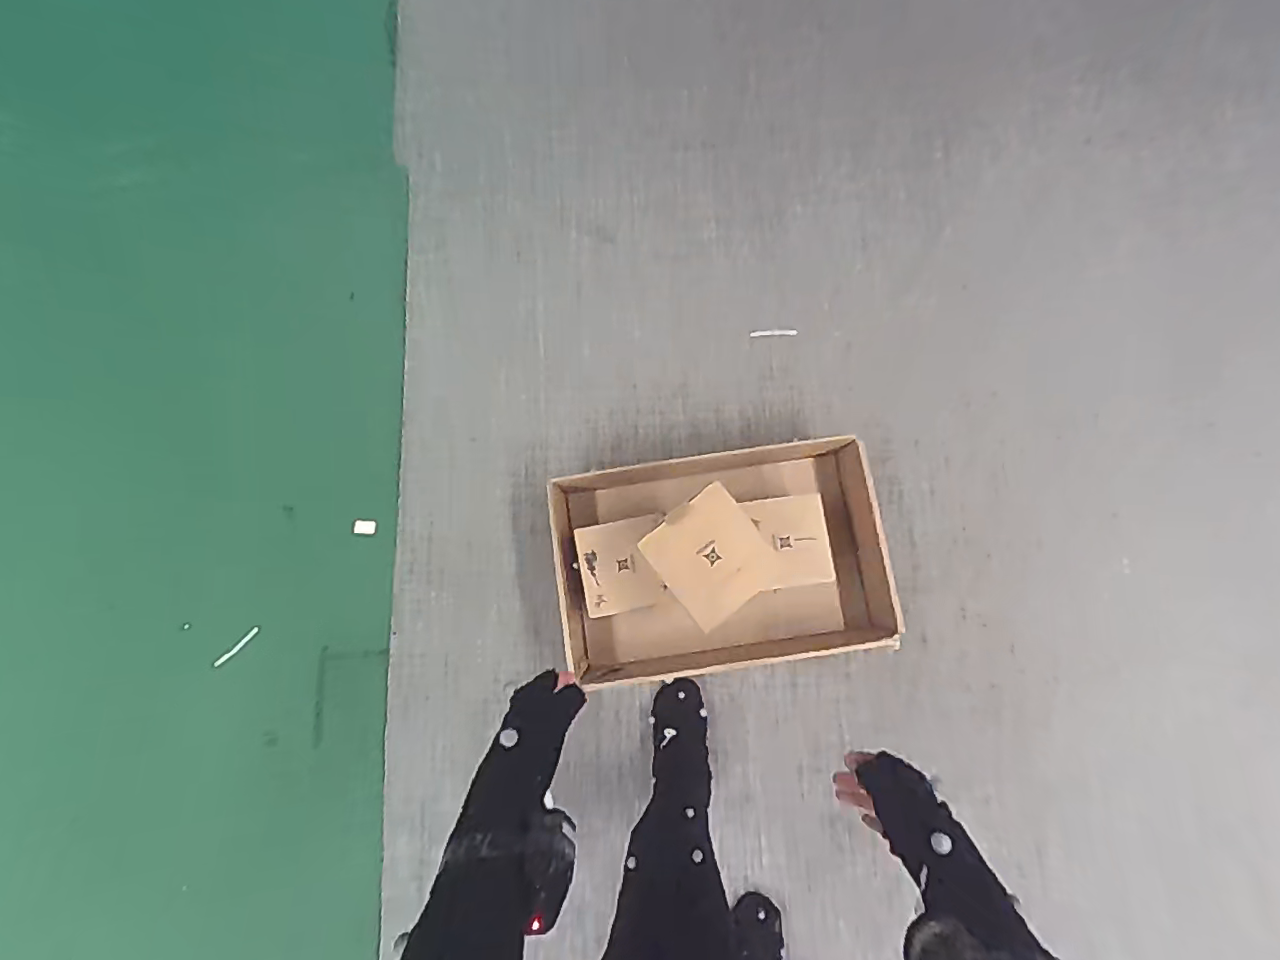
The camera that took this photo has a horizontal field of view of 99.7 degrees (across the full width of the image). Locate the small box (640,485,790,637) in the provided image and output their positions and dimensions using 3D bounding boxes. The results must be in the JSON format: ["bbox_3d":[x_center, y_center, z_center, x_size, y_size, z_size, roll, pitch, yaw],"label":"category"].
[{"bbox_3d":[0.115,0.135,0.905,0.168,0.176,0.179,-39,83,-4],"label":"small box"}]

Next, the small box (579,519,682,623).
[{"bbox_3d":[-0.015,0.178,1.065,0.179,0.176,0.168,-11,80,-2],"label":"small box"}]

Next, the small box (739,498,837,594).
[{"bbox_3d":[0.263,0.135,1.062,0.179,0.176,0.168,-8,81,1],"label":"small box"}]
